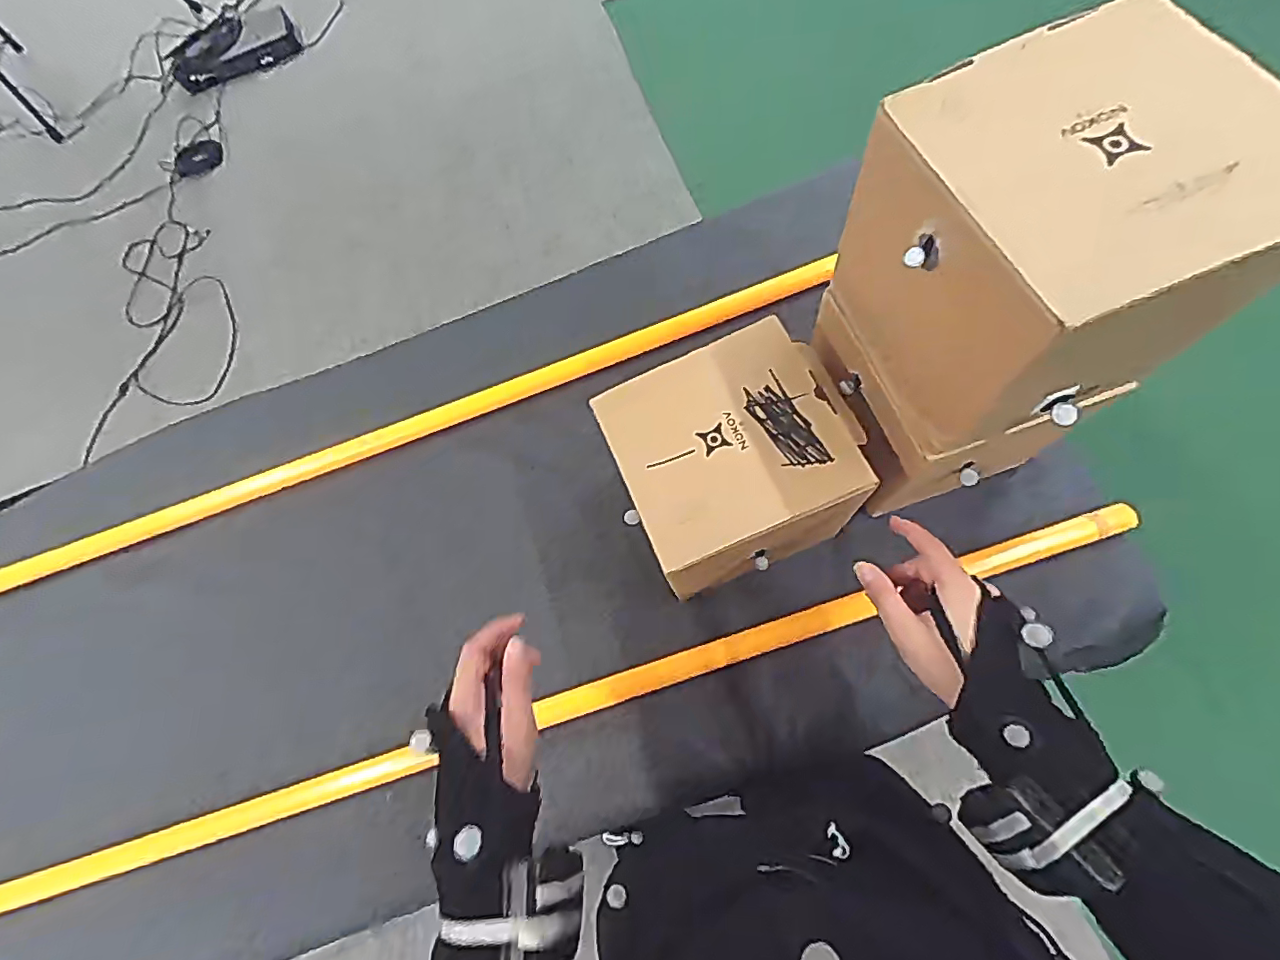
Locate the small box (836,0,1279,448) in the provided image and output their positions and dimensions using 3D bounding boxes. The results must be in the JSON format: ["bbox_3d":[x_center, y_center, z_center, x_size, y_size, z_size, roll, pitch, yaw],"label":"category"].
[{"bbox_3d":[0.251,-0.149,0.354,0.168,0.176,0.179,-23,69,2],"label":"small box"}]
